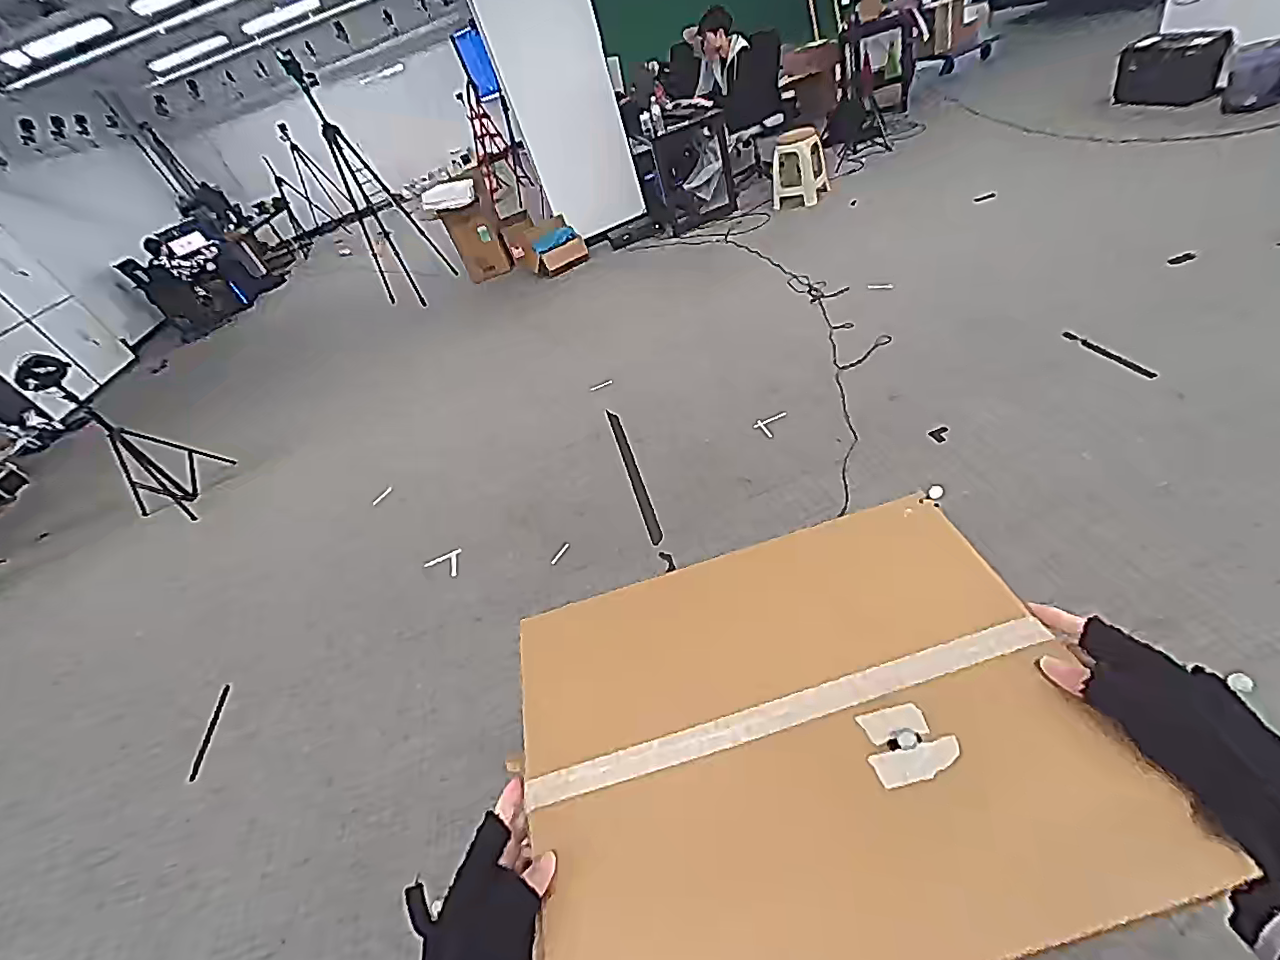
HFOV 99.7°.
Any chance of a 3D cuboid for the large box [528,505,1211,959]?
[{"bbox_3d":[0.143,0.287,0.517,0.408,0.320,0.320,-18,43,0],"label":"large box"}]
